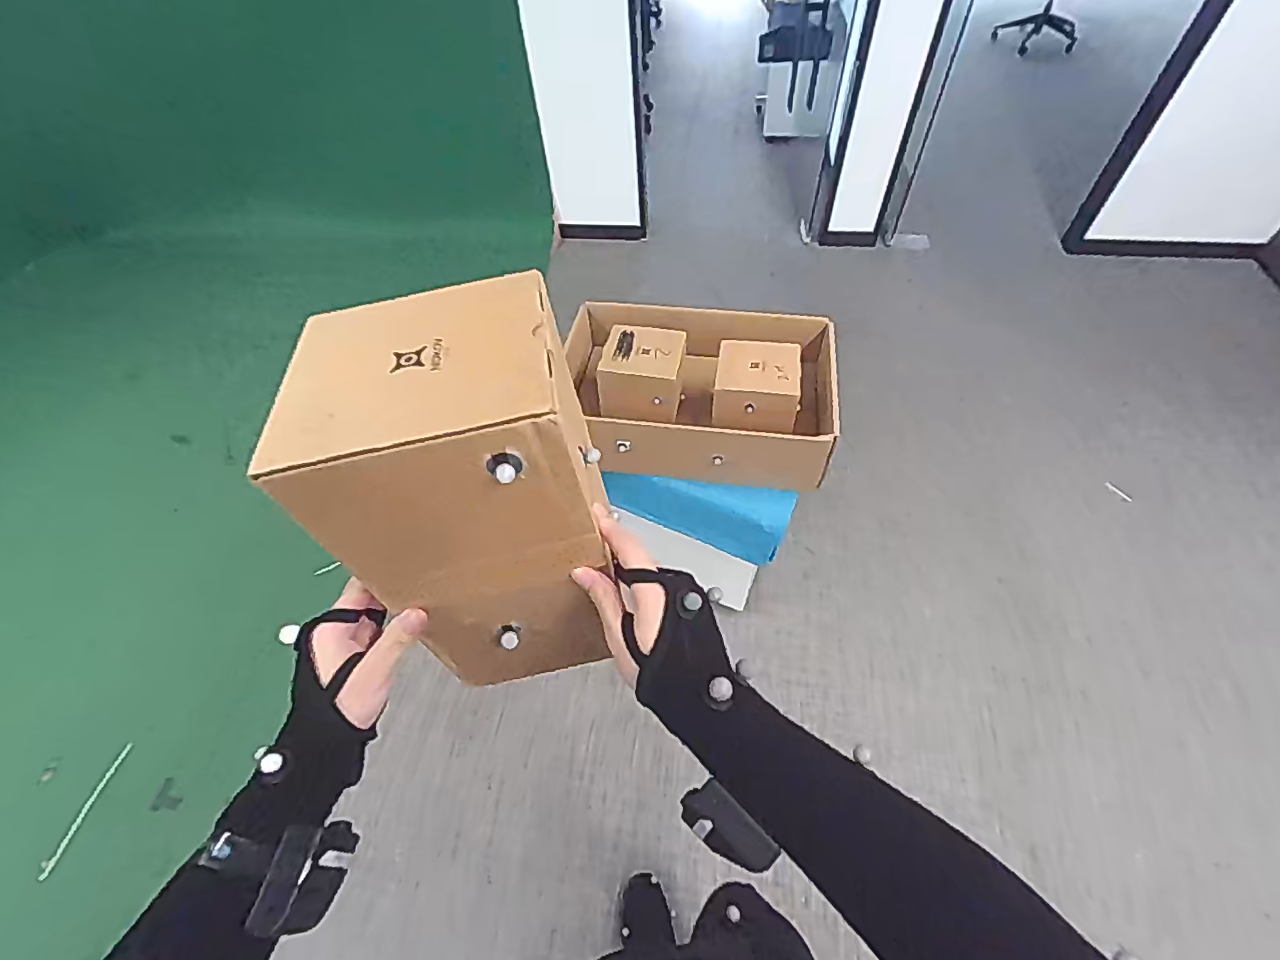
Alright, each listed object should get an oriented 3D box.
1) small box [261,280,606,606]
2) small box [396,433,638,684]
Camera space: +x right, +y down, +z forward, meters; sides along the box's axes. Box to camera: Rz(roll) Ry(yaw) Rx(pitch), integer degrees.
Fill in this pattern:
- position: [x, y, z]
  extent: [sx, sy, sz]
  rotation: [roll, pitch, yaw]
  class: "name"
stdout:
- position: [-0.134, -0.024, 0.418]
  extent: [0.179, 0.176, 0.168]
  rotation: [-12, 48, -2]
  class: "small box"
- position: [-0.110, 0.083, 0.538]
  extent: [0.179, 0.176, 0.168]
  rotation: [-12, 48, 0]
  class: "small box"
